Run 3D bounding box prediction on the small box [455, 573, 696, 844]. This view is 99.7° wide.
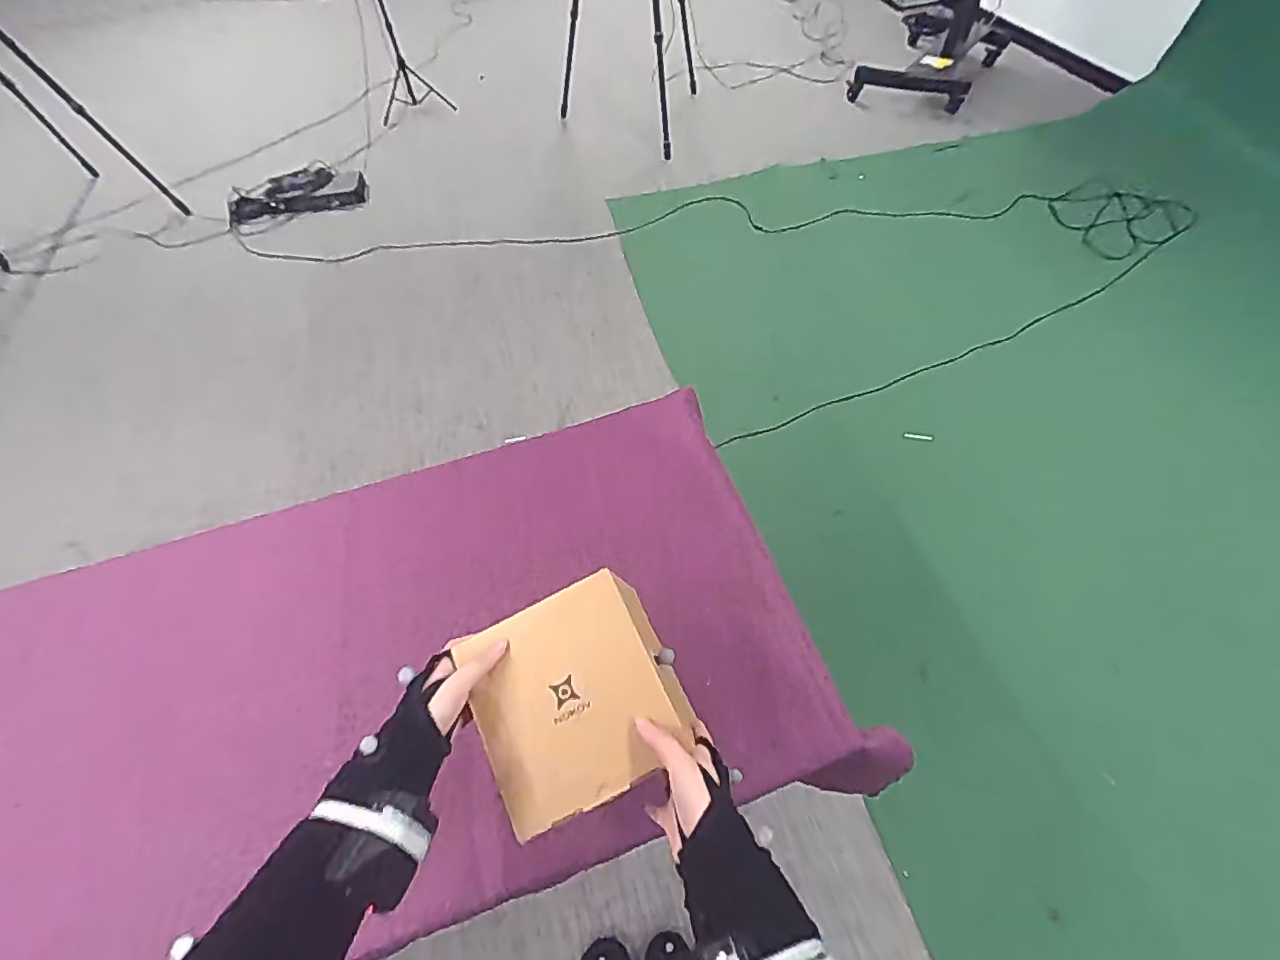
[{"bbox_3d":[-0.054,0.218,0.551,0.168,0.176,0.179,-28,72,-1],"label":"small box"}]
